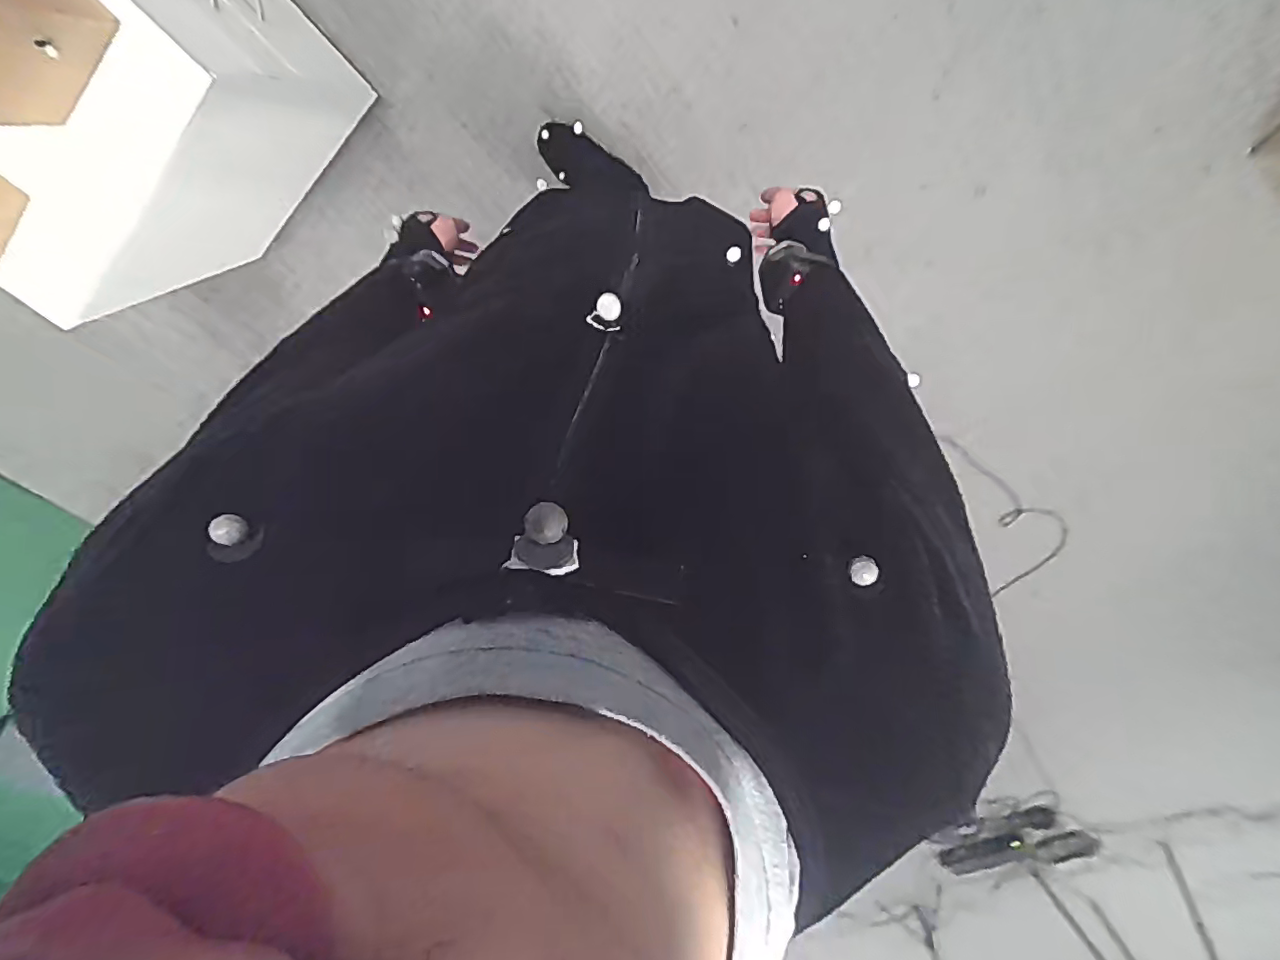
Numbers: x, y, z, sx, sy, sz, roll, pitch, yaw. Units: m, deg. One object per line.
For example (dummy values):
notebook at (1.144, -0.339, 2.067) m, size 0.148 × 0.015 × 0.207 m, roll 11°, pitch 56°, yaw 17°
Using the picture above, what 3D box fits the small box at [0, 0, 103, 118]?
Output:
small box at (-0.749, -0.526, 0.578) m, size 0.179 × 0.176 × 0.168 m, roll -34°, pitch 118°, yaw 22°

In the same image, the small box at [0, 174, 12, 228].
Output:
small box at (-0.978, -0.363, 0.681) m, size 0.179 × 0.176 × 0.168 m, roll -37°, pitch 118°, yaw 19°
